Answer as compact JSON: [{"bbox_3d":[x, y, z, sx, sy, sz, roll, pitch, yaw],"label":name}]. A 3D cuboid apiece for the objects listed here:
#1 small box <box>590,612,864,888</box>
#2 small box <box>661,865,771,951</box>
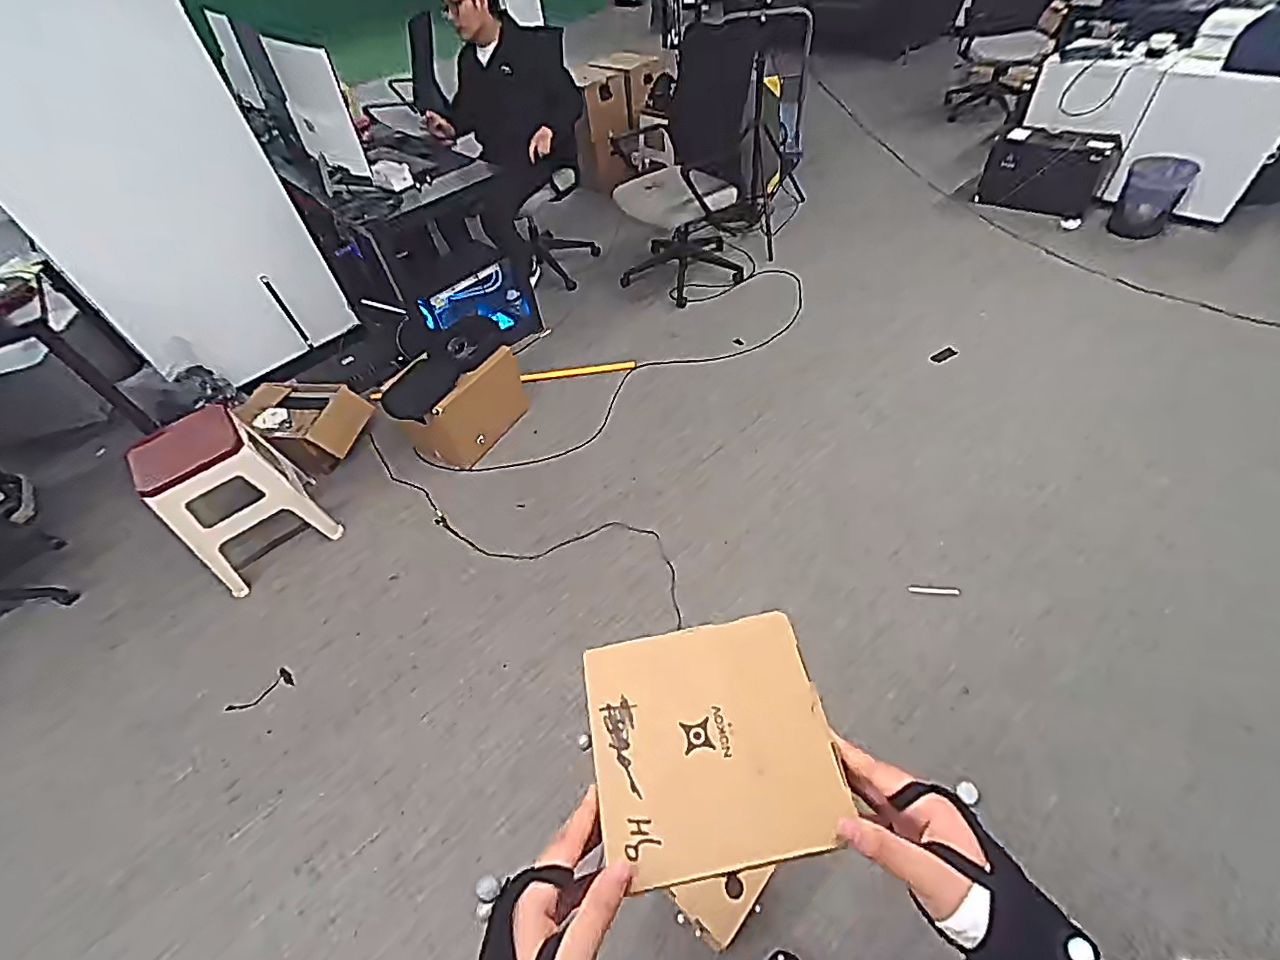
[{"bbox_3d":[0.059,0.237,0.470,0.179,0.176,0.168,-10,51,-3],"label":"small box"},{"bbox_3d":[0.152,0.836,1.139,0.168,0.176,0.179,34,62,31],"label":"small box"}]
